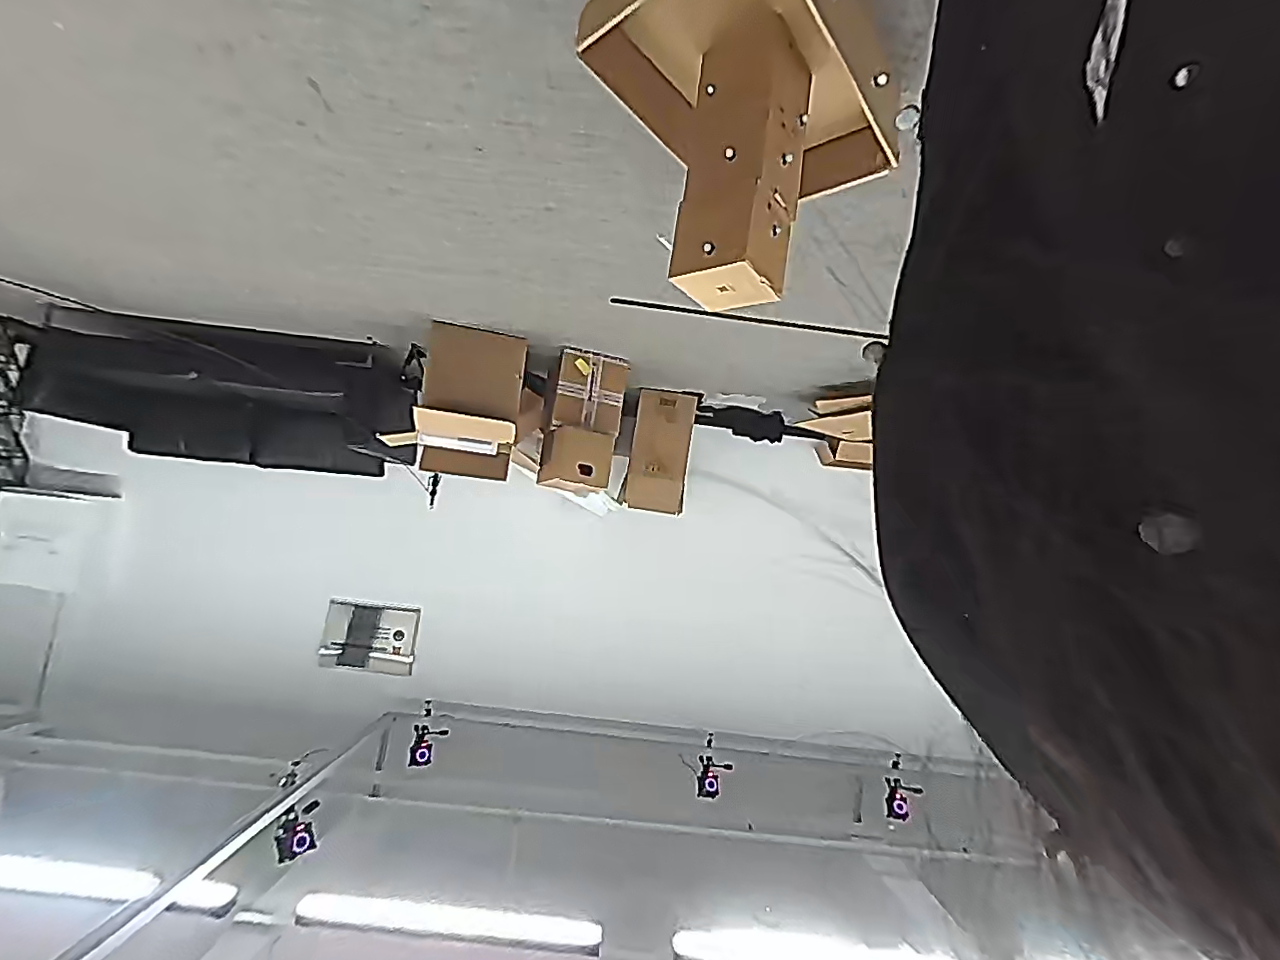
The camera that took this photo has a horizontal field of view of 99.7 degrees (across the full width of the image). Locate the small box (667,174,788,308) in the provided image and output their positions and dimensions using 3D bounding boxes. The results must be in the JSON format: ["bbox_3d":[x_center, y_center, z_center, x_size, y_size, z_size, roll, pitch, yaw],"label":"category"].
[{"bbox_3d":[0.179,-0.469,1.082,0.179,0.176,0.168,3,172,39],"label":"small box"}]

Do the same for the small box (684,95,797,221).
[{"bbox_3d":[0.210,-0.629,1.099,0.179,0.176,0.168,3,172,37],"label":"small box"}]
